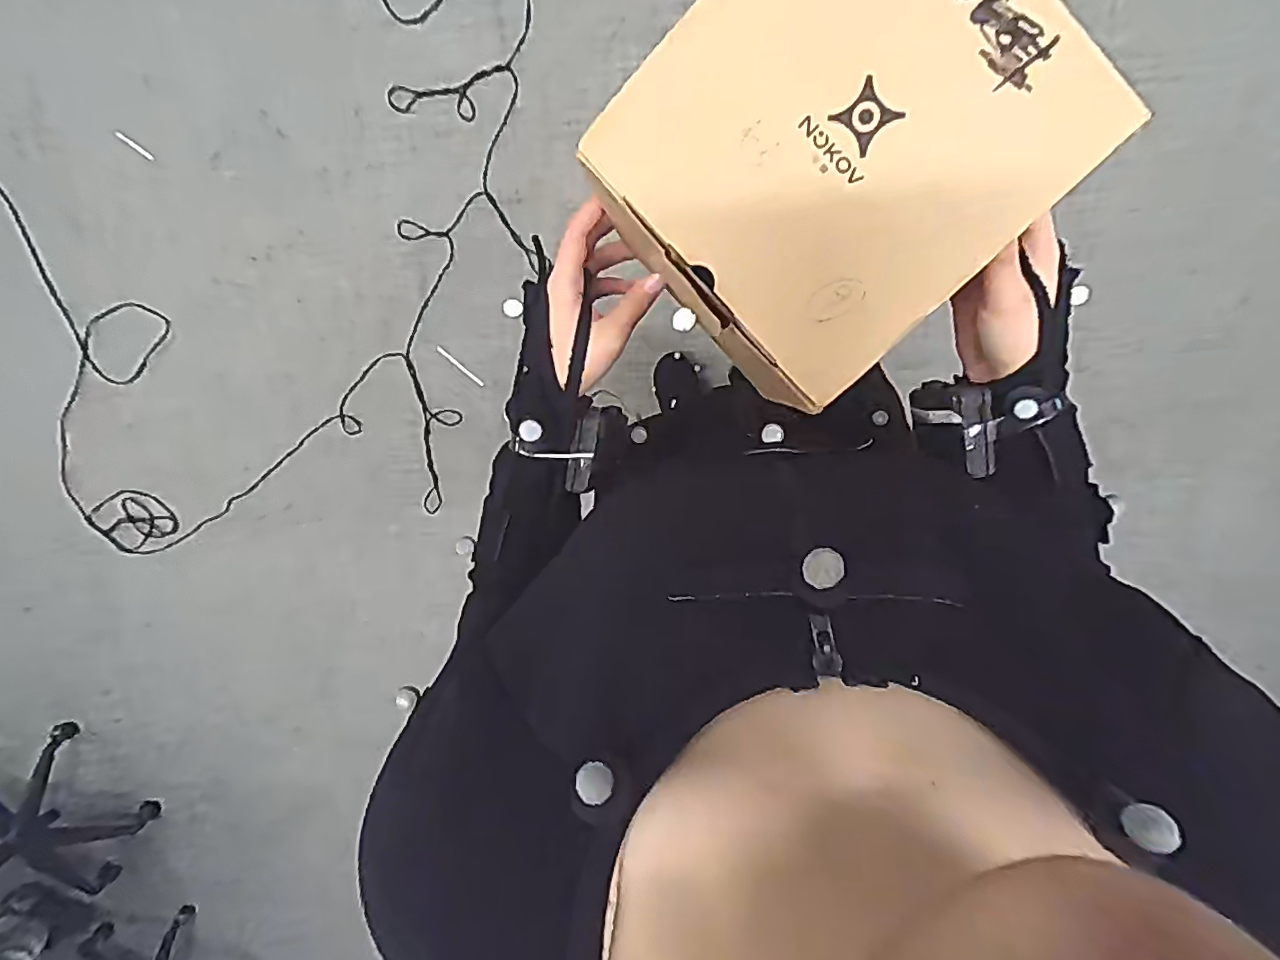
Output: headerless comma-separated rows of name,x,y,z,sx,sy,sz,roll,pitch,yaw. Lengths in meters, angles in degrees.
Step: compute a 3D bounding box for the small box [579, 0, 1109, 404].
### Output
small box,0.095,-0.165,0.322,0.179,0.176,0.168,-43,94,12
